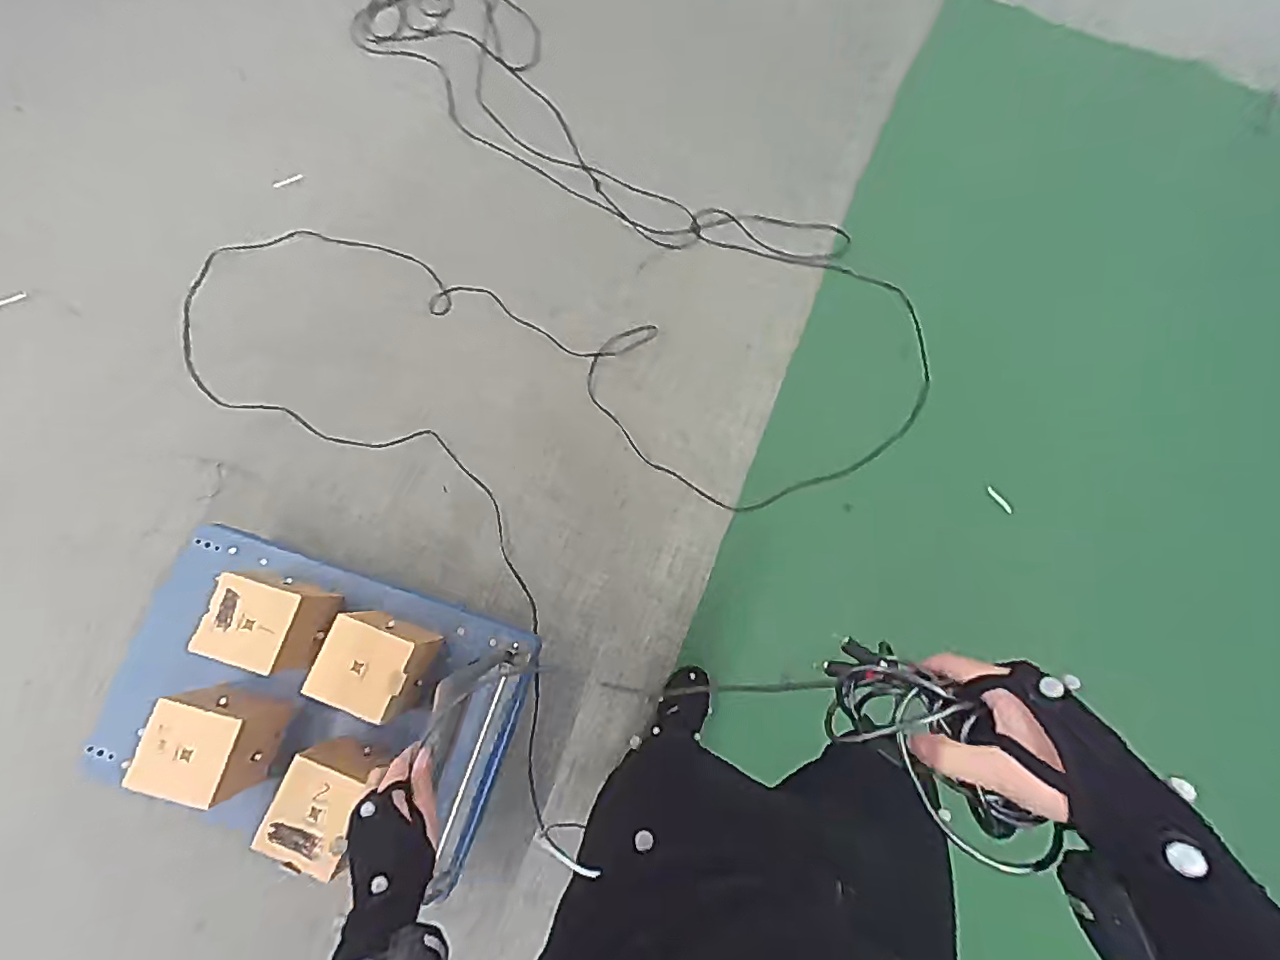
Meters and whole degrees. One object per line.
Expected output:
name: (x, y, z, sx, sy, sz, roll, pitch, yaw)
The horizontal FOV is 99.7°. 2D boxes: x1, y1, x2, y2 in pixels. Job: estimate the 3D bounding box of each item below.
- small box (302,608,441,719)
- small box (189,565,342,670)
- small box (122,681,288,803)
small box: (-0.560, 0.383, 1.153, 0.179, 0.176, 0.168, 21, 78, 2)
small box: (-0.792, 0.292, 1.164, 0.179, 0.176, 0.168, 18, 79, 2)
small box: (-0.876, 0.526, 1.112, 0.179, 0.176, 0.168, 16, 77, 2)
